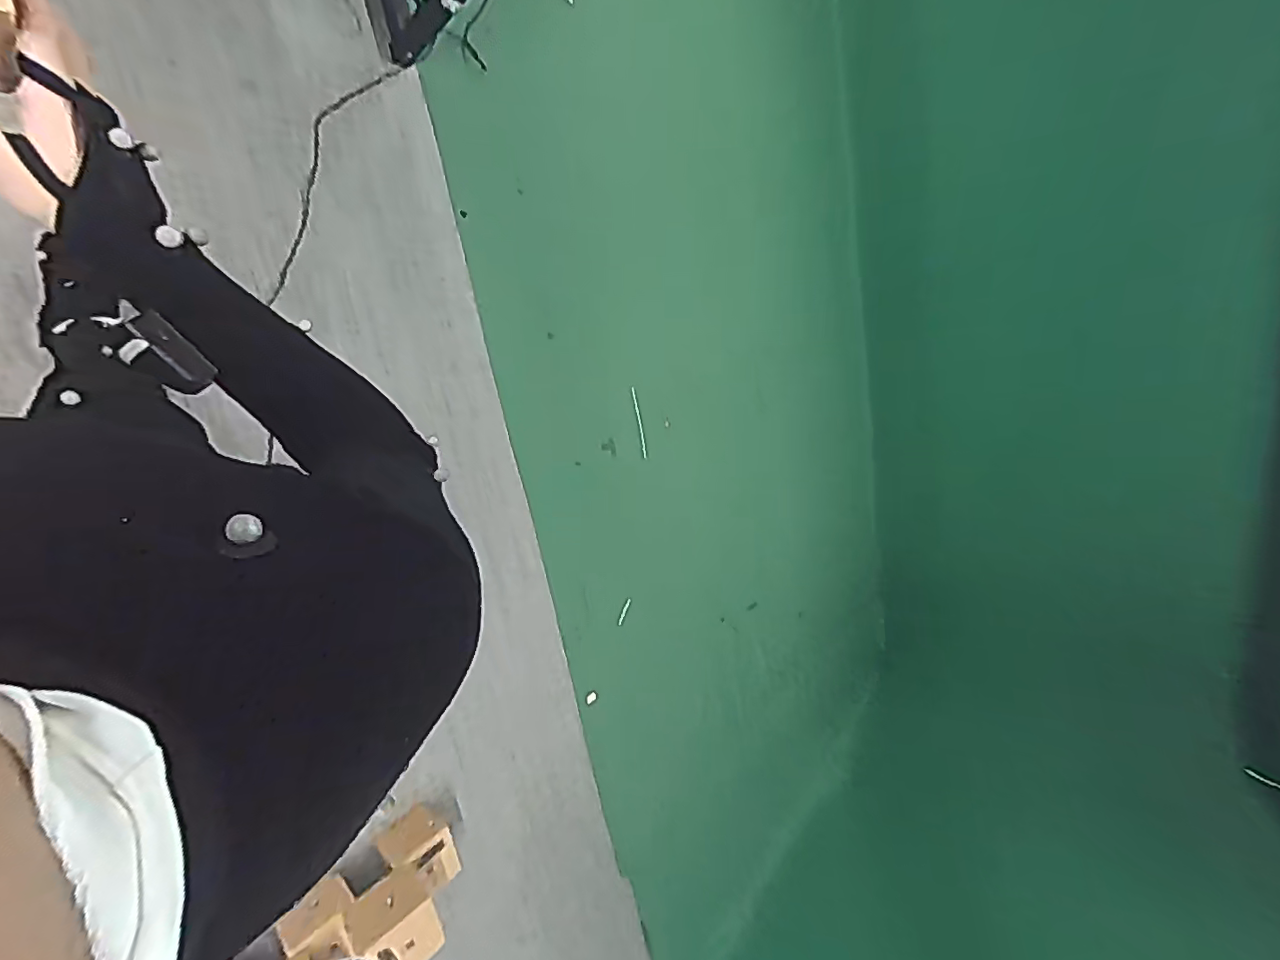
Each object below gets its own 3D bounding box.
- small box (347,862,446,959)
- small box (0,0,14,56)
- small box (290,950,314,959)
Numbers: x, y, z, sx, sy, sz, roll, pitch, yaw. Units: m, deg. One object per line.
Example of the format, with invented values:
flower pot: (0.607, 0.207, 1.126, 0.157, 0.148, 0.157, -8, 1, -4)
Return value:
small box: (-0.649, 1.178, 1.432, 0.179, 0.176, 0.168, -23, 109, -44)
small box: (-0.455, -0.344, 0.262, 0.179, 0.176, 0.168, -16, 113, -46)
small box: (-0.821, 1.270, 1.260, 0.179, 0.176, 0.168, -27, 111, -40)
